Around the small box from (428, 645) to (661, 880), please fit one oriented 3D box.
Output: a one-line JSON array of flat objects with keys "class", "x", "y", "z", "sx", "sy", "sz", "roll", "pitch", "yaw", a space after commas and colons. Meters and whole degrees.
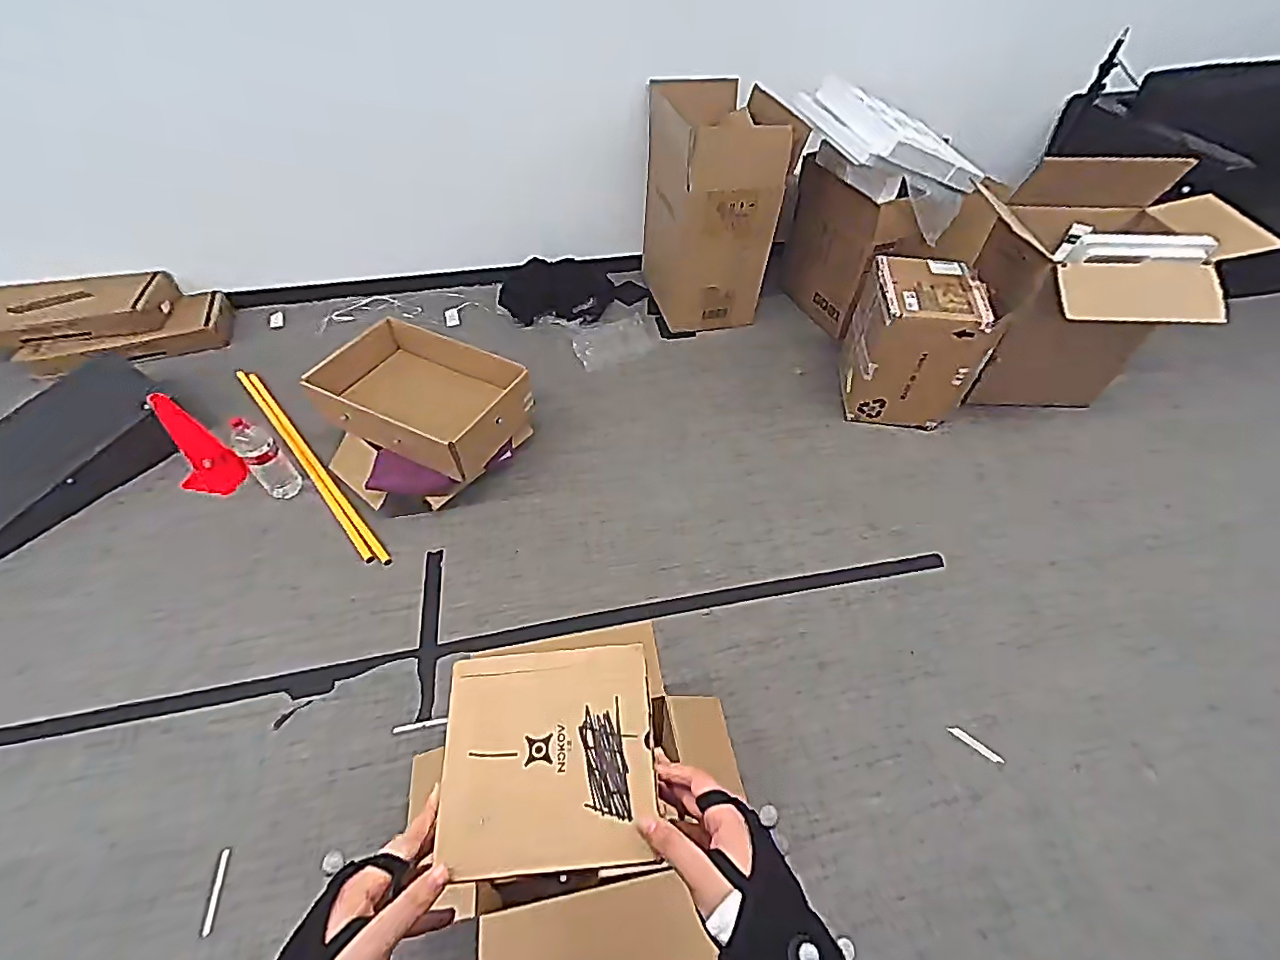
[{"class": "small box", "x": -0.075, "y": 0.268, "z": 0.513, "sx": 0.179, "sy": 0.176, "sz": 0.168, "roll": -5, "pitch": 55, "yaw": -1}]
